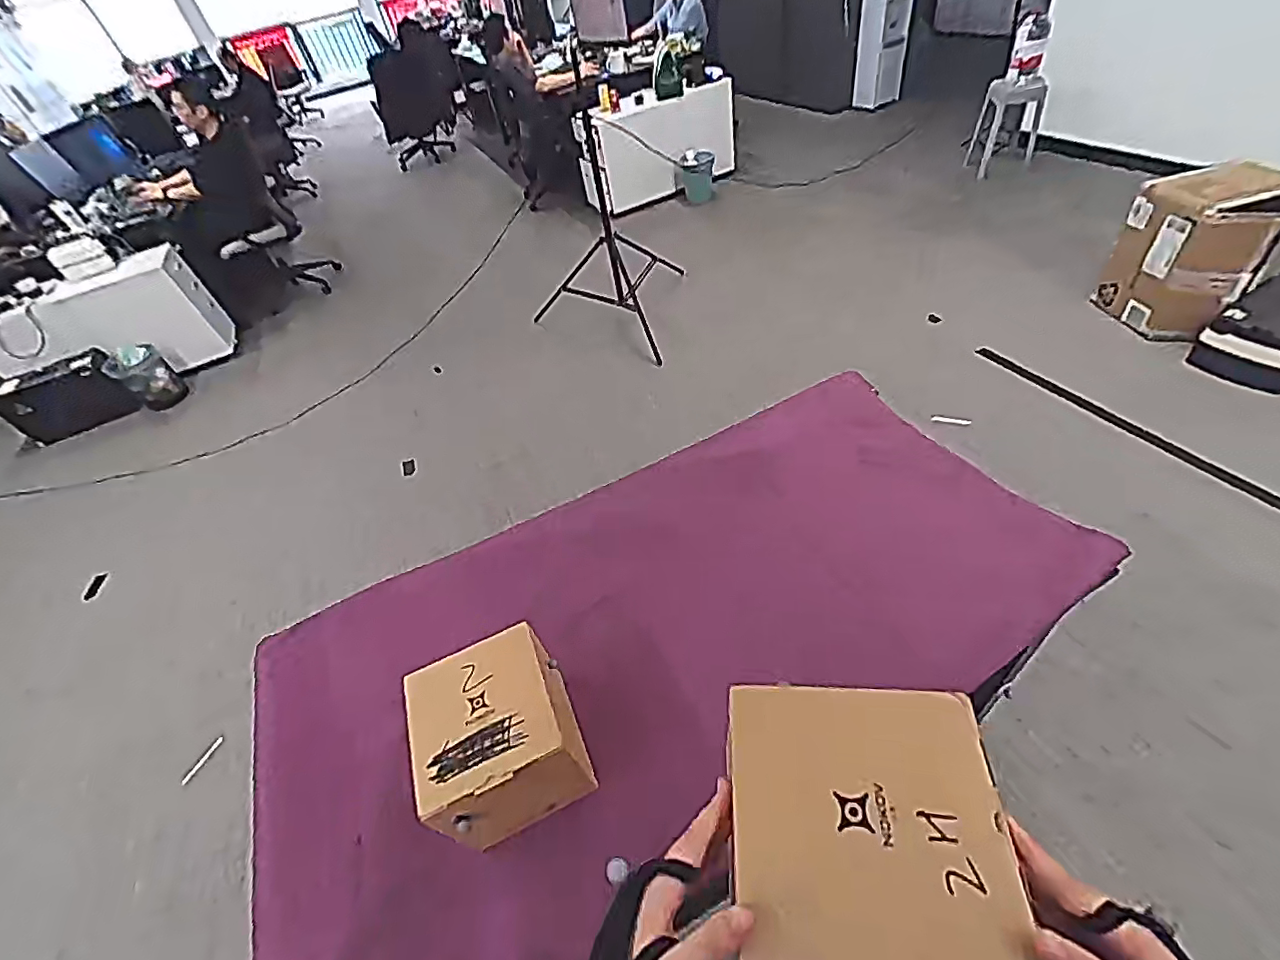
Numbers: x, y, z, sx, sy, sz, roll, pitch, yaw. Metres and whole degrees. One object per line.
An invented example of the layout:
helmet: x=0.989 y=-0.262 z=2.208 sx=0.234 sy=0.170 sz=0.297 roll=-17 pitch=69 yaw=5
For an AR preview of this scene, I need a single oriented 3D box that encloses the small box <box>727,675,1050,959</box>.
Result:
small box: x=0.157 y=0.265 z=0.418 sx=0.179 sy=0.176 sz=0.168 roll=0 pitch=51 yaw=8
